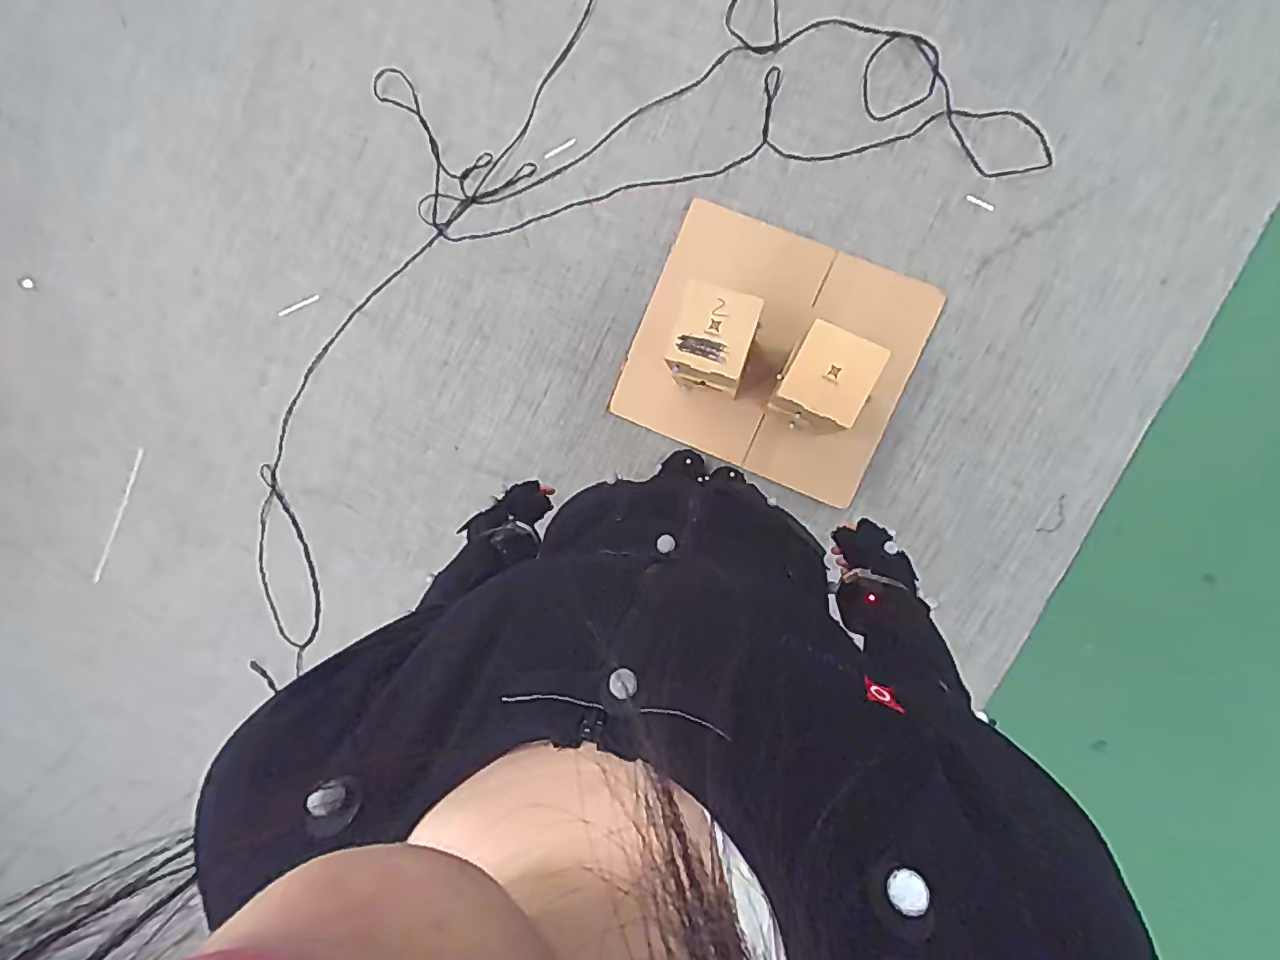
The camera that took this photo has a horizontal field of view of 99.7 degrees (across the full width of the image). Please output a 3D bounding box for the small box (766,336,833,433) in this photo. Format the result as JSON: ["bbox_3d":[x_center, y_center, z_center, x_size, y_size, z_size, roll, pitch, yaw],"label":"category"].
[{"bbox_3d":[0.417,-0.227,1.327,0.168,0.176,0.179,24,97,7],"label":"small box"}]

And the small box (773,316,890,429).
[{"bbox_3d":[0.399,-0.223,1.165,0.168,0.176,0.179,27,97,6],"label":"small box"}]

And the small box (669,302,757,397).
[{"bbox_3d":[0.184,-0.316,1.351,0.168,0.176,0.179,19,96,6],"label":"small box"}]
